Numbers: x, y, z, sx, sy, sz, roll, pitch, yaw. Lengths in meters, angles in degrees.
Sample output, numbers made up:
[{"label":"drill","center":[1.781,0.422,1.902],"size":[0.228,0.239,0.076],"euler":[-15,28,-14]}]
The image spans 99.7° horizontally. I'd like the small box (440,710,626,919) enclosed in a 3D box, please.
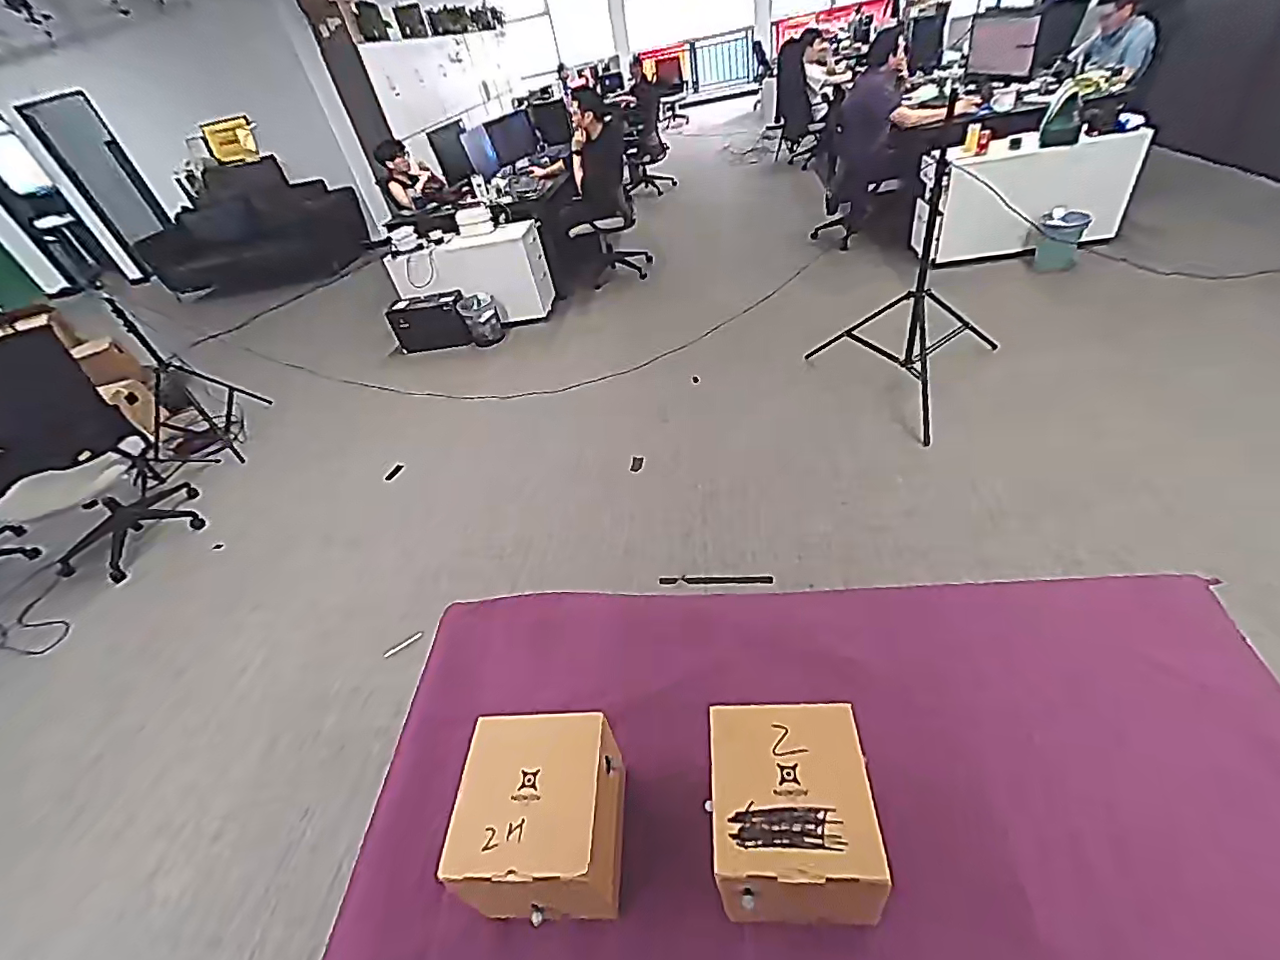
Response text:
[{"label":"small box","center":[-0.113,0.408,0.665],"size":[0.168,0.176,0.179],"euler":[-6,40,7]}]
